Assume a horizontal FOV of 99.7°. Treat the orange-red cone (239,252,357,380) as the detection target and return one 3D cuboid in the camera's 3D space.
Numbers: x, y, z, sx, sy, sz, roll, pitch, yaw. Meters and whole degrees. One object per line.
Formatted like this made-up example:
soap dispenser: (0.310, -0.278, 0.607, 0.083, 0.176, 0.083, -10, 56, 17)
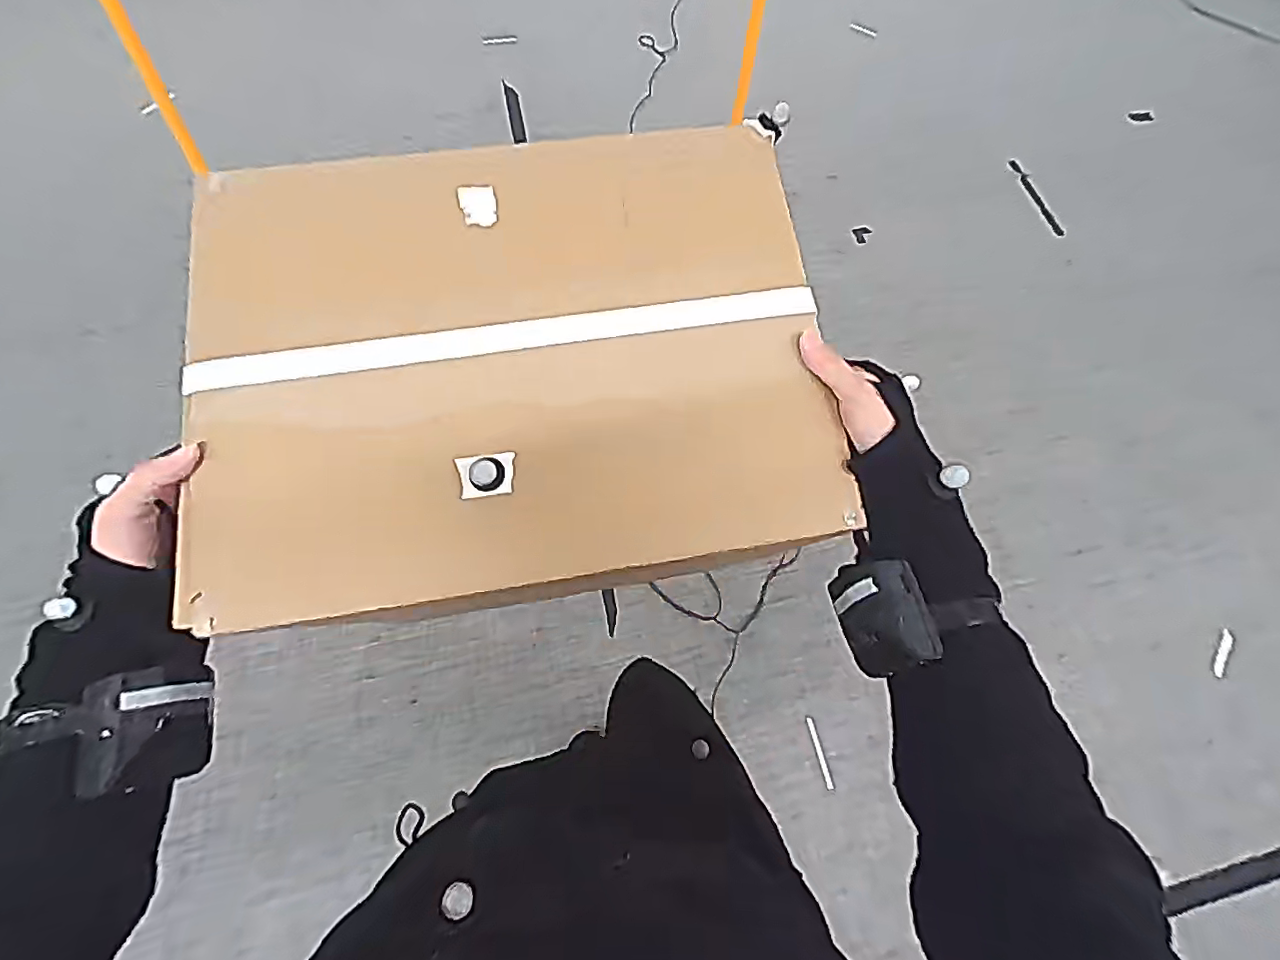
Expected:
orange-red cone: (-0.951, -0.464, 1.459, 0.199, 0.360, 0.198, -20, 68, -9)
